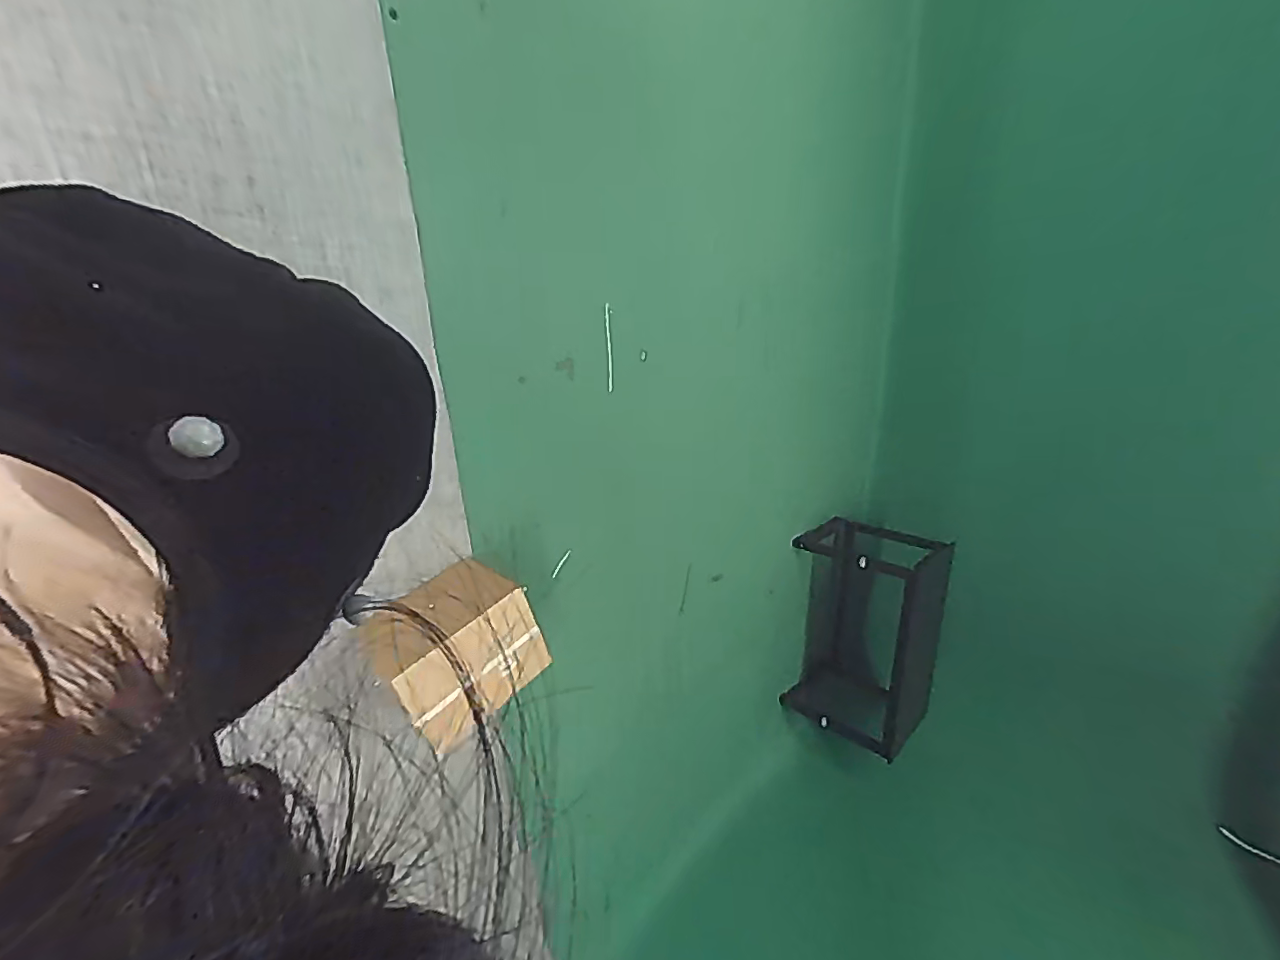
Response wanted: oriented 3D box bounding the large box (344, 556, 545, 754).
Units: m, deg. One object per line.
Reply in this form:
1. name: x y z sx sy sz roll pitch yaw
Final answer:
1. large box: -0.564 0.490 1.594 0.408 0.320 0.320 -36 126 -36
